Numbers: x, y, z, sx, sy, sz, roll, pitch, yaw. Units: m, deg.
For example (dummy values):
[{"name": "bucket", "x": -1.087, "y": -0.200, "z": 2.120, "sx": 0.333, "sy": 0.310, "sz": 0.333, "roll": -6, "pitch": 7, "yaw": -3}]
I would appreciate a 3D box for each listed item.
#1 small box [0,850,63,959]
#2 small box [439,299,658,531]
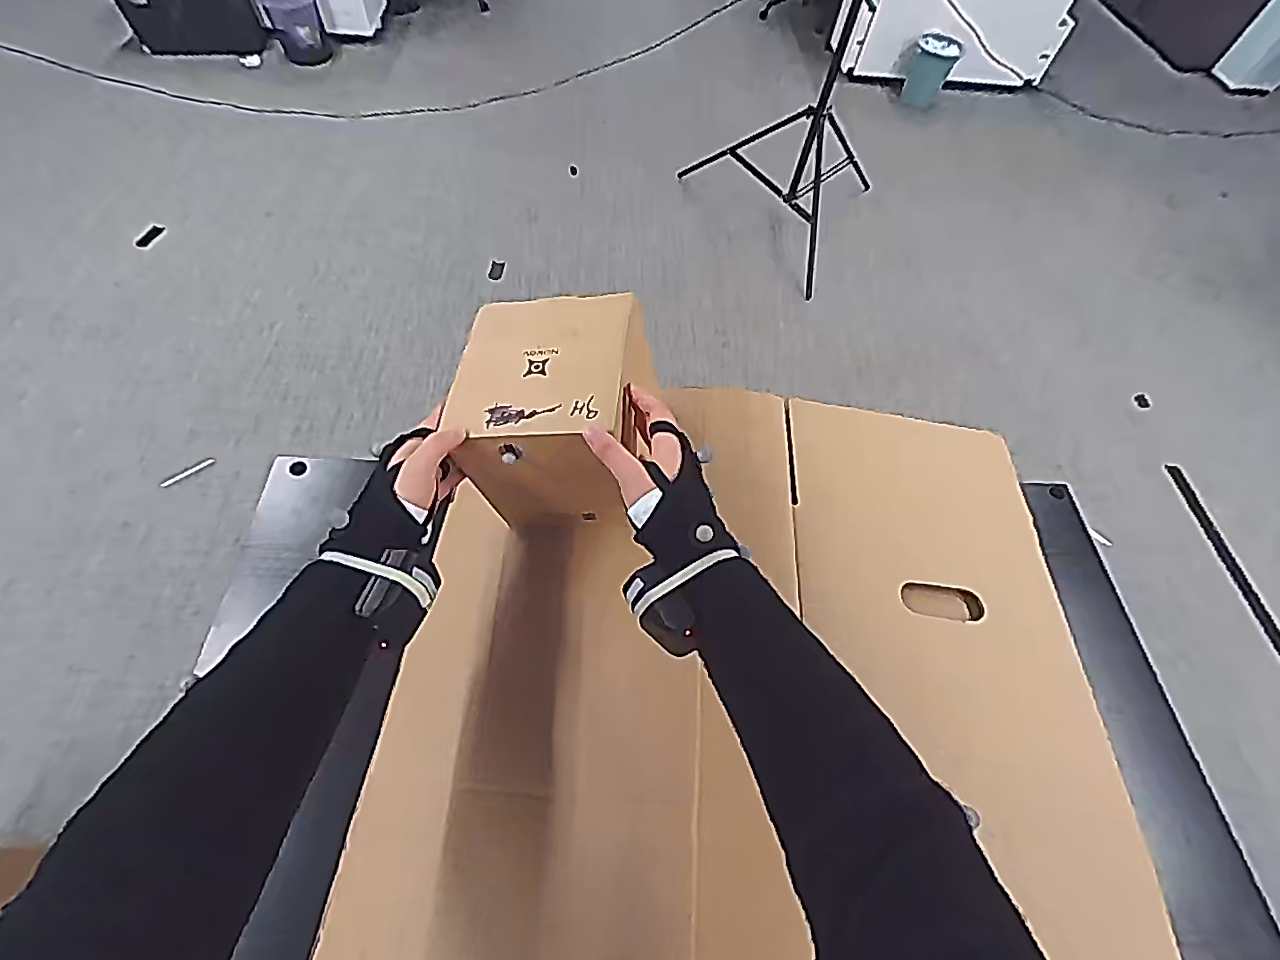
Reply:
[{"name": "small box", "x": -1.232, "y": 0.787, "z": 0.984, "sx": 0.168, "sy": 0.176, "sz": 0.179, "roll": -2, "pitch": 60, "yaw": -6}, {"name": "small box", "x": -0.077, "y": -0.063, "z": 0.571, "sx": 0.168, "sy": 0.176, "sz": 0.179, "roll": -2, "pitch": 56, "yaw": 12}]
